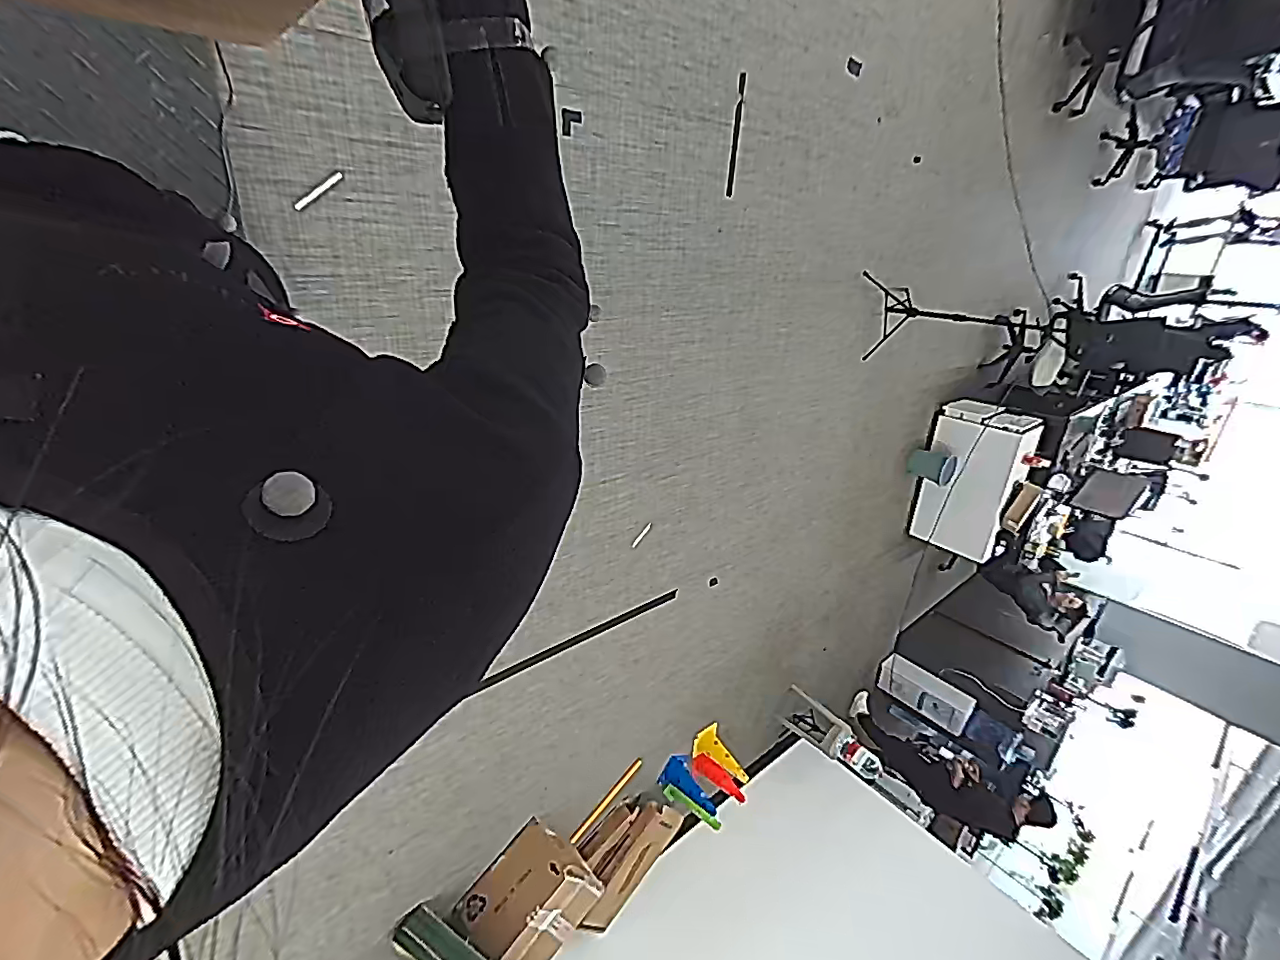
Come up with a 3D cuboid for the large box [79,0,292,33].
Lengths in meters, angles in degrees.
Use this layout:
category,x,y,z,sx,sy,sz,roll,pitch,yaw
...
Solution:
category,x,y,z,sx,sy,sz,roll,pitch,yaw
large box,-0.382,-0.415,0.192,0.408,0.320,0.320,-17,126,-36
